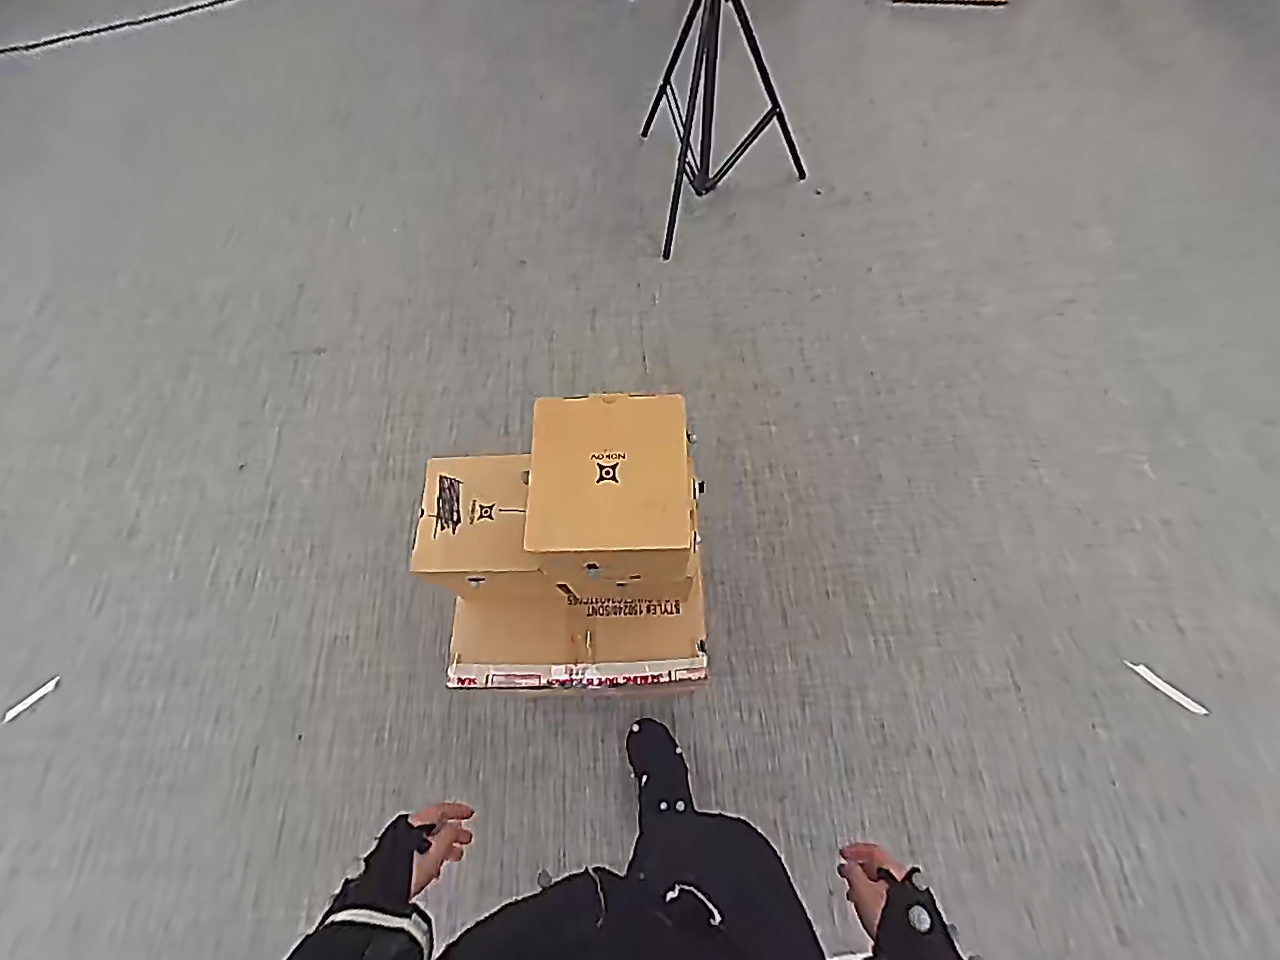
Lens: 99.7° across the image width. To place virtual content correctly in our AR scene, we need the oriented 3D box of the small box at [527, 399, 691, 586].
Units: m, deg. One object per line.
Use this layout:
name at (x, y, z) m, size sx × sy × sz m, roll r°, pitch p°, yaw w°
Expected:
small box at (-0.027, 0.025, 0.630) m, size 0.168 × 0.176 × 0.179 m, roll -2°, pitch 67°, yaw 2°
